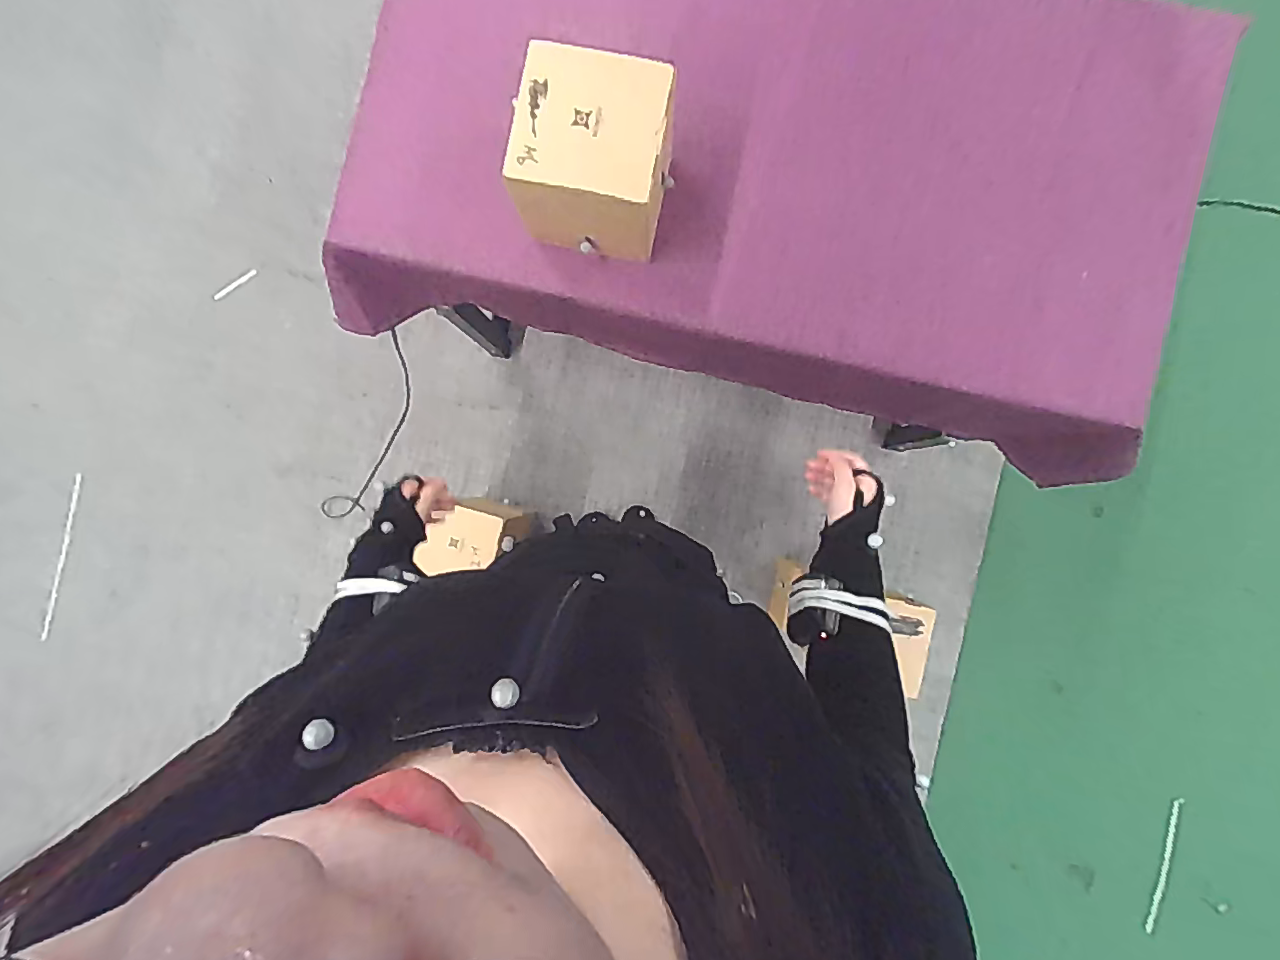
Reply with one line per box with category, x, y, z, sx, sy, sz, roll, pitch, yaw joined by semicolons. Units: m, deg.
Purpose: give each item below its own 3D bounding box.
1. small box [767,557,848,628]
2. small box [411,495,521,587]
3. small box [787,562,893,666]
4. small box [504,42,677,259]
small box;0.448;0.305;1.423;0.179;0.176;0.168;12;90;0
small box;-0.400;0.138;1.271;0.179;0.176;0.168;16;90;0
small box;0.455;0.304;1.260;0.168;0.176;0.179;14;89;-1
small box;-0.058;-0.411;0.706;0.179;0.176;0.168;12;89;0
